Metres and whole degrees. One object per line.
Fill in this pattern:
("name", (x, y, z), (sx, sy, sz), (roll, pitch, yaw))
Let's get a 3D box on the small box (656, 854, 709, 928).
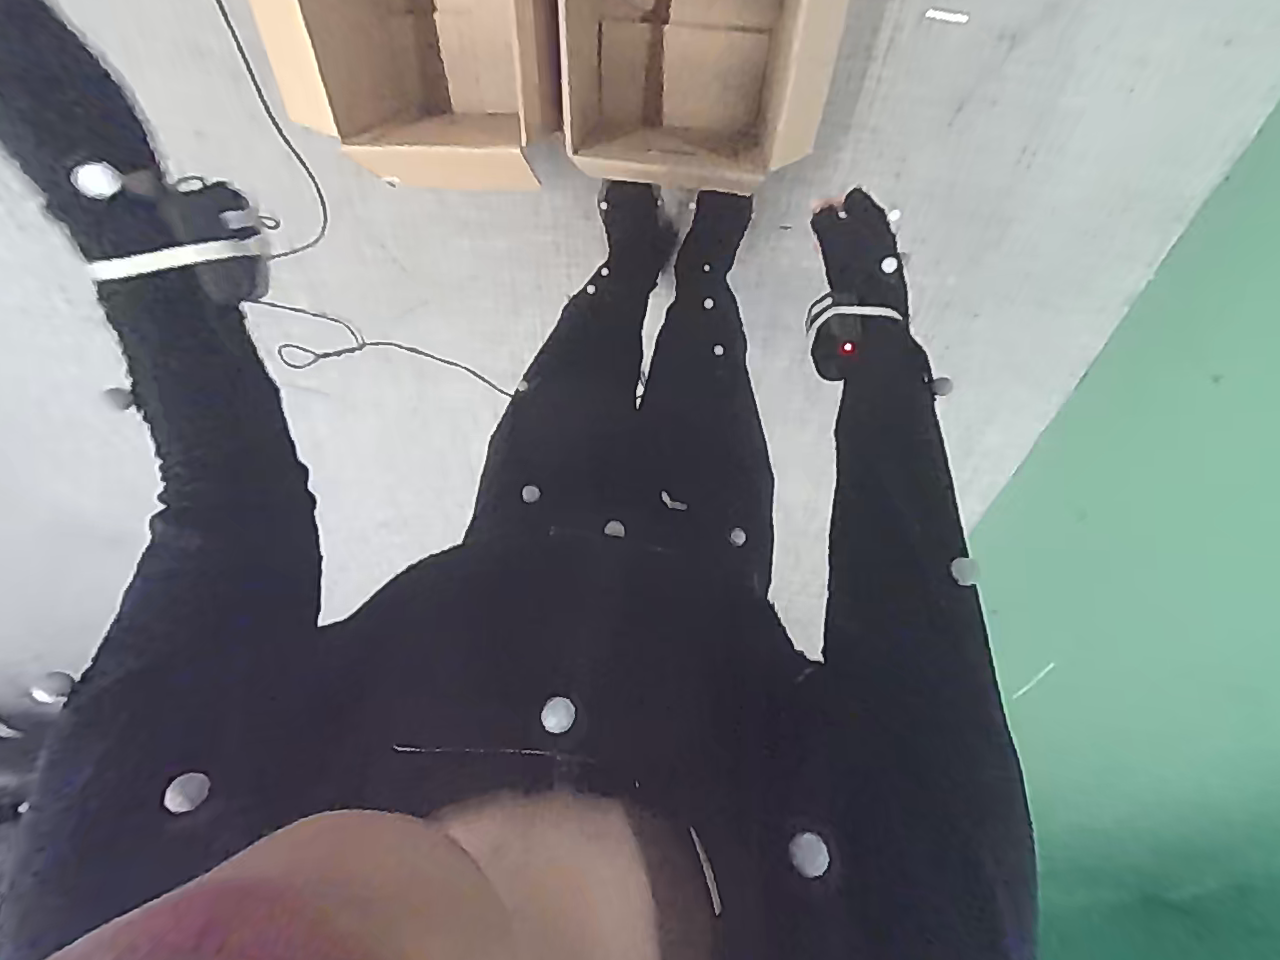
("small box", (0.149, 1.435, 1.889), (0.168, 0.176, 0.179), (6, 133, 1))
